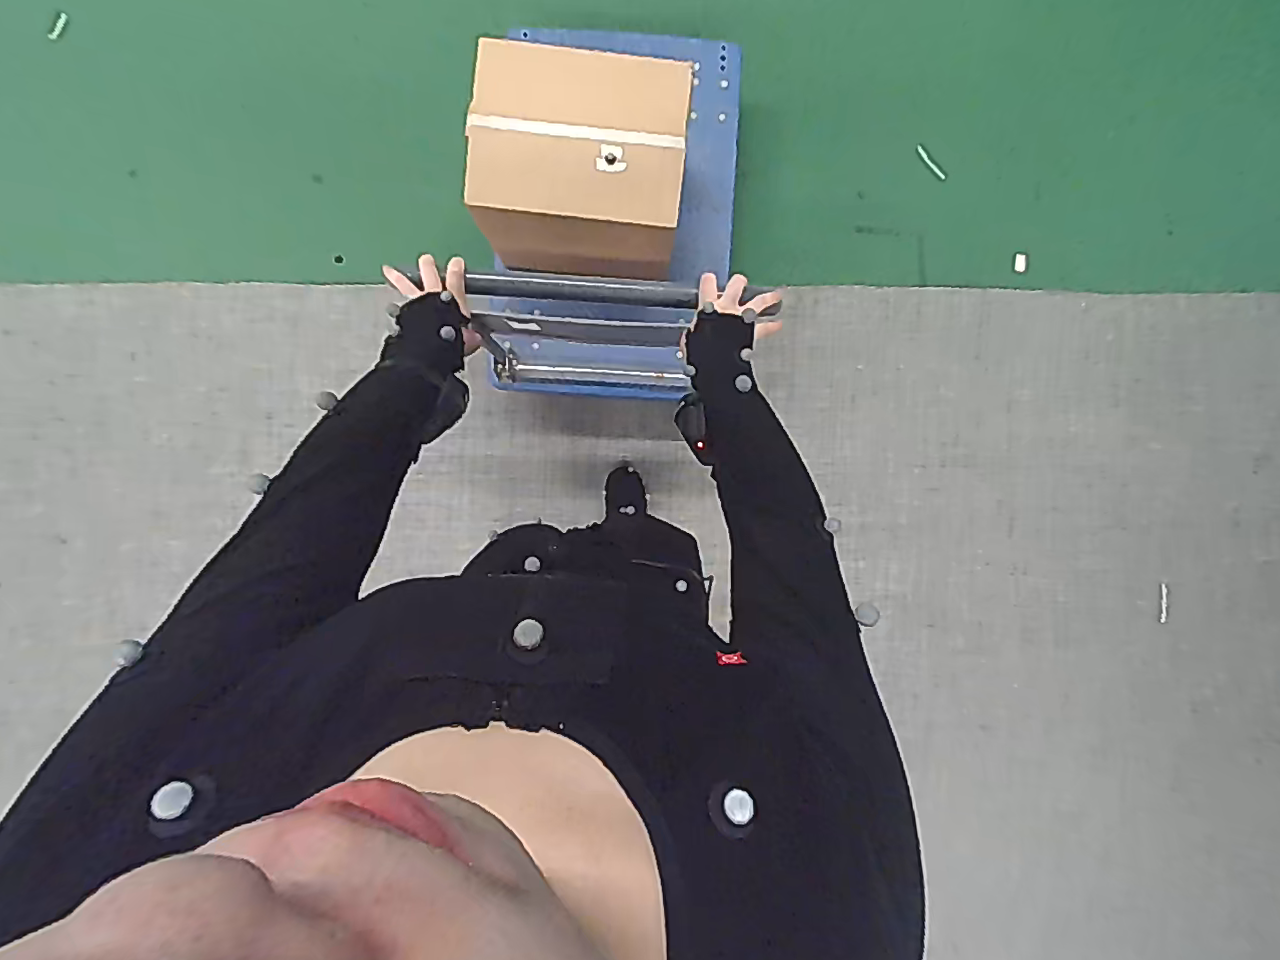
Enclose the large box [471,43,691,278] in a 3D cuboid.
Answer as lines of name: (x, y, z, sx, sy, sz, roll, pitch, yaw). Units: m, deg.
large box: (-0.119, -0.662, 1.178, 0.408, 0.320, 0.320, 6, 91, -2)
